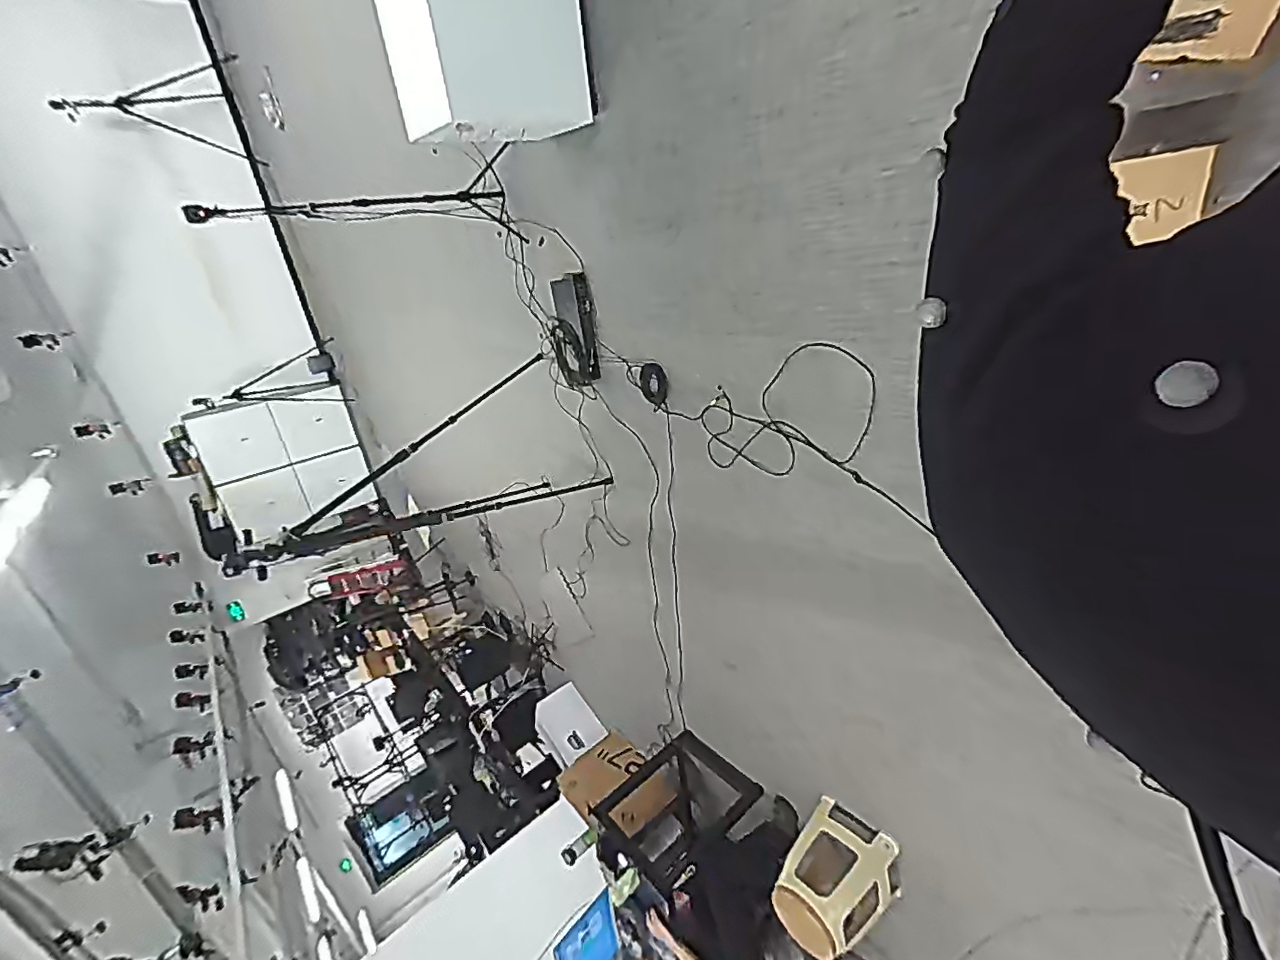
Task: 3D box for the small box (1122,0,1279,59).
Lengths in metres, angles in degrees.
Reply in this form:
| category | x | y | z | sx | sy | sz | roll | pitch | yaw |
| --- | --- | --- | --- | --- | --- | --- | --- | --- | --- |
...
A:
| category | x | y | z | sx | sy | sz | roll | pitch | yaw |
| --- | --- | --- | --- | --- | --- | --- | --- | --- | --- |
| small box | 0.905 | -0.763 | 0.831 | 0.168 | 0.176 | 0.179 | 35 | 135 | 37 |
